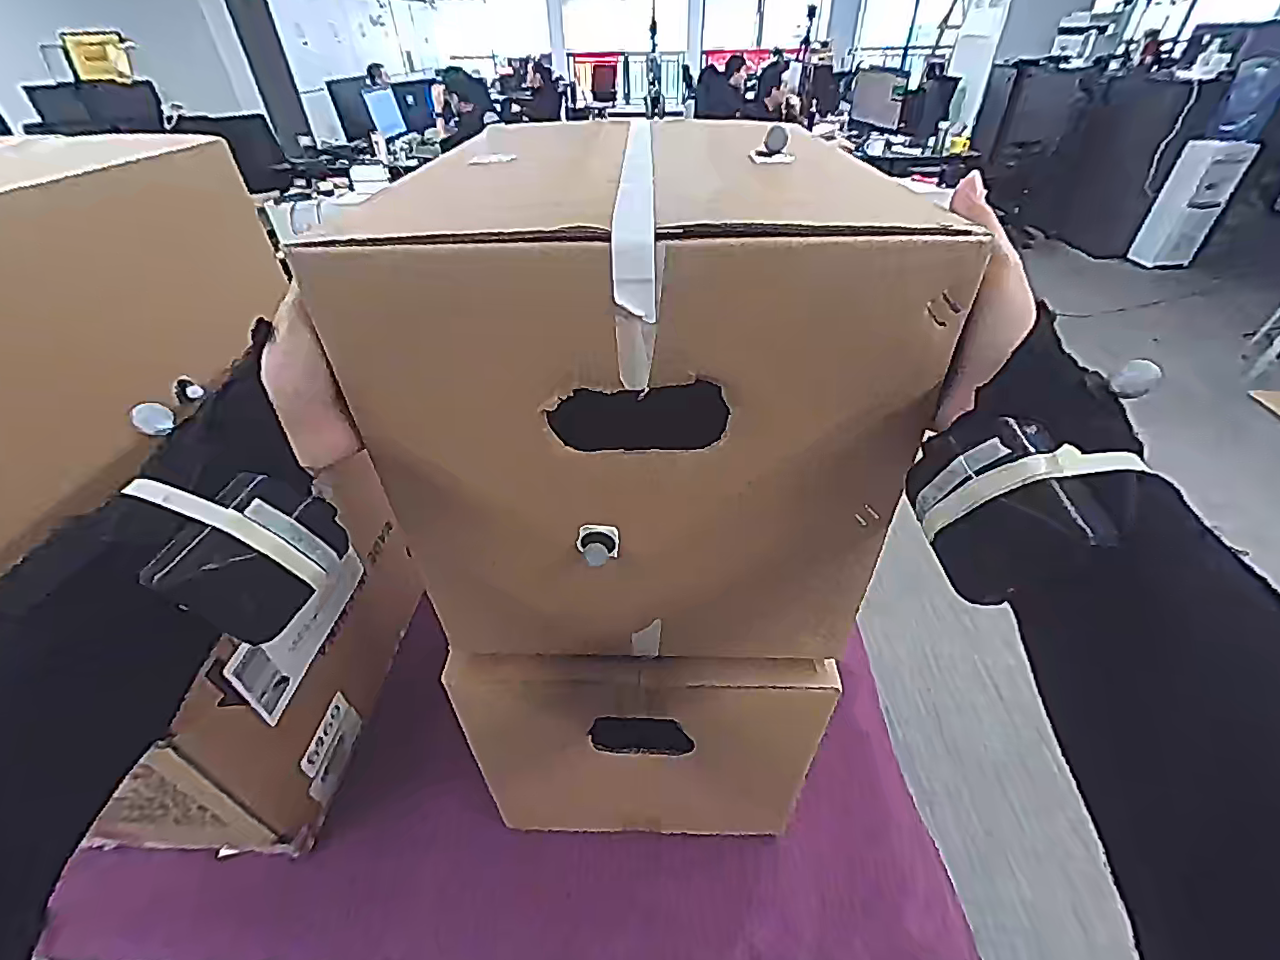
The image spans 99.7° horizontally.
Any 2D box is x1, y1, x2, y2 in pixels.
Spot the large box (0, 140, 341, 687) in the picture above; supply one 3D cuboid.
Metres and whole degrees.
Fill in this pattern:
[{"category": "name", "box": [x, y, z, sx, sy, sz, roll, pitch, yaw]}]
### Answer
[{"category": "large box", "box": [-0.541, -0.082, 0.470, 0.320, 0.320, 0.408, -2, 40, 2]}]
